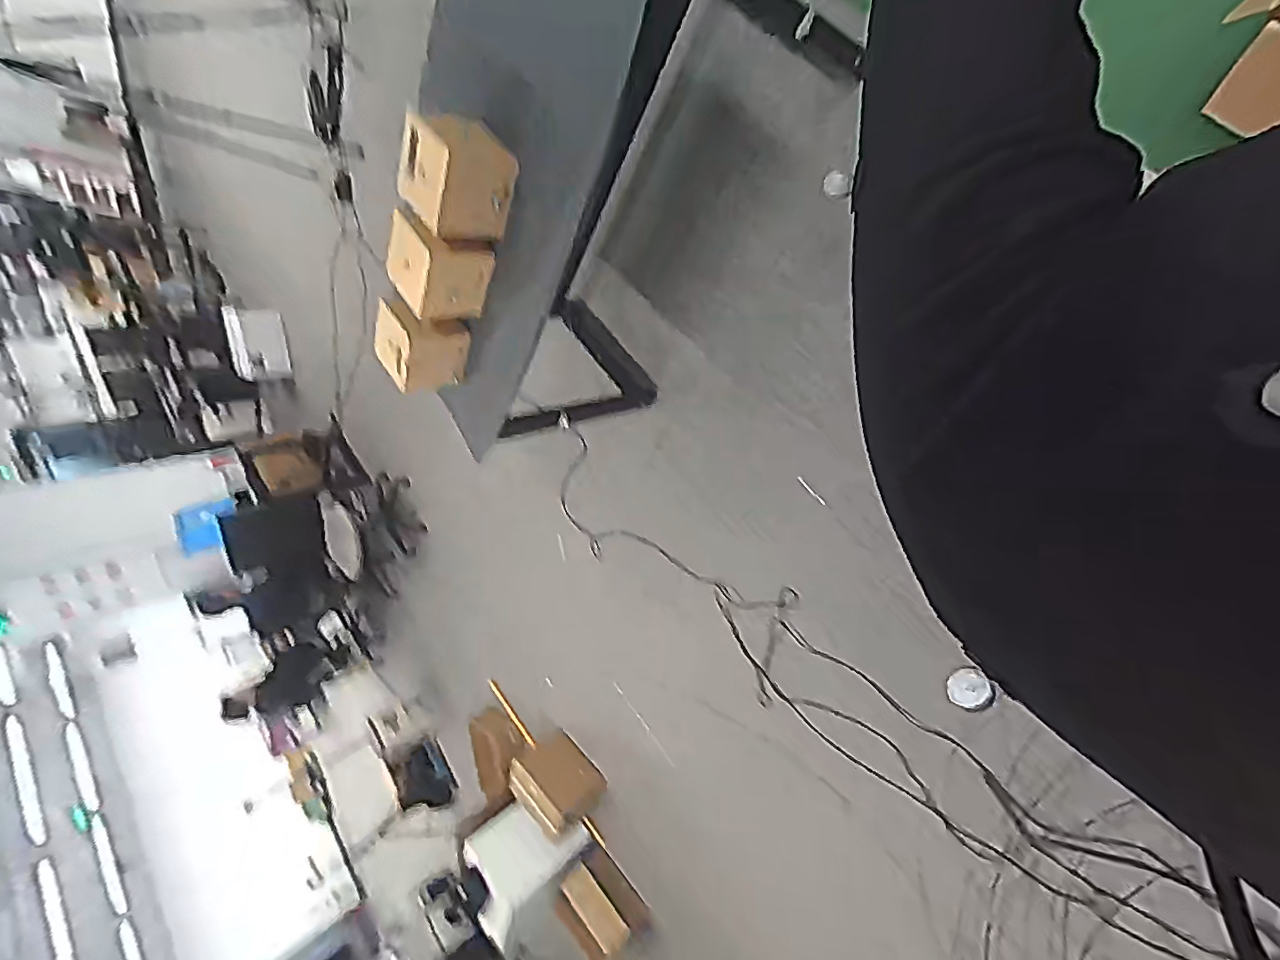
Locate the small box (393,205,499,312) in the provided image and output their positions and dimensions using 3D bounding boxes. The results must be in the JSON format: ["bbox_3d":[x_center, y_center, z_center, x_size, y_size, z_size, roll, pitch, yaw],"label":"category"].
[{"bbox_3d":[-0.461,-0.525,1.286,0.179,0.176,0.168,52,134,20],"label":"small box"}]

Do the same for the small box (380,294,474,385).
[{"bbox_3d":[-0.565,-0.378,1.439,0.179,0.176,0.168,49,132,23],"label":"small box"}]
